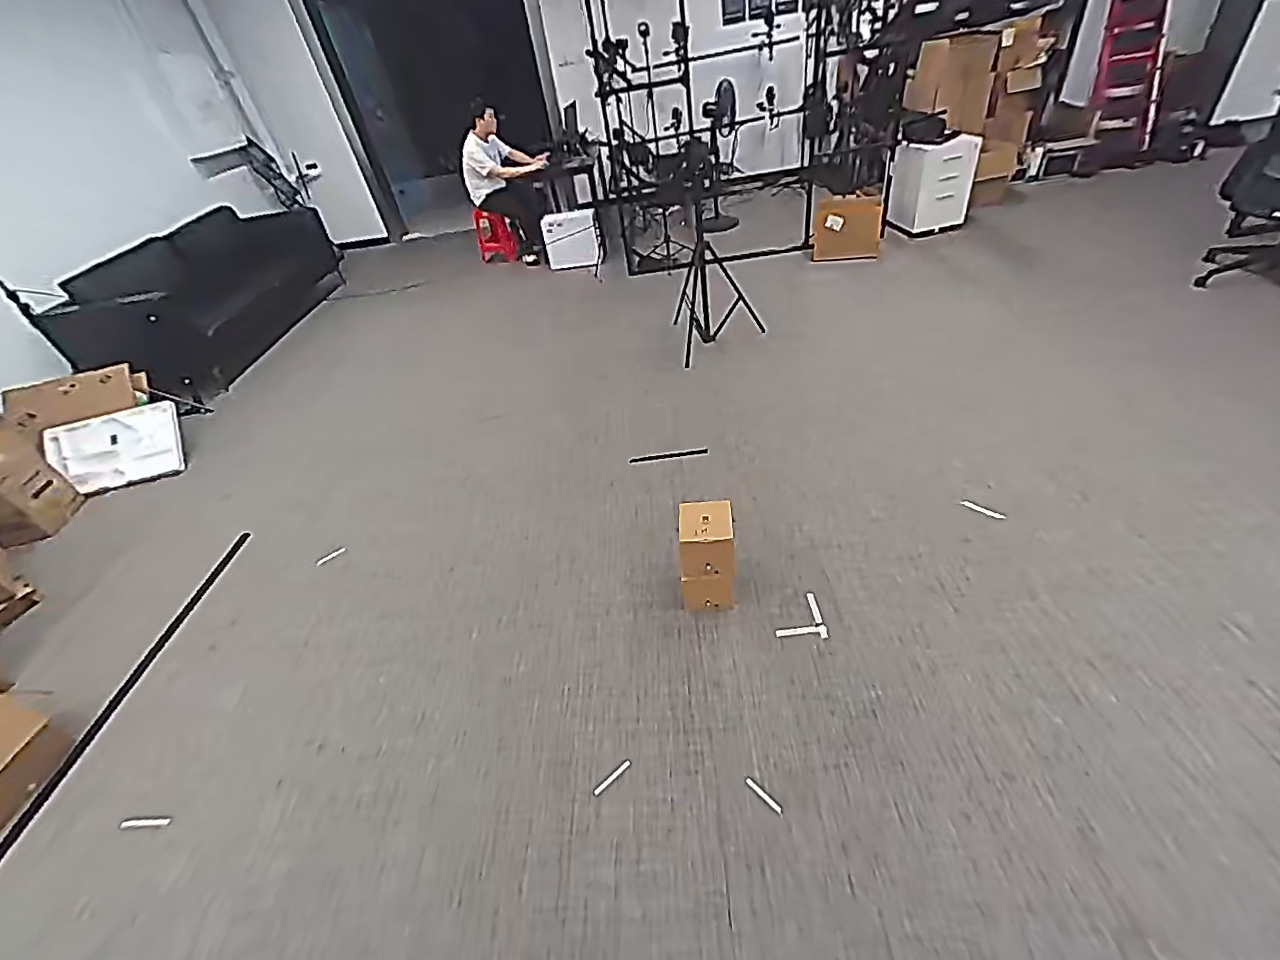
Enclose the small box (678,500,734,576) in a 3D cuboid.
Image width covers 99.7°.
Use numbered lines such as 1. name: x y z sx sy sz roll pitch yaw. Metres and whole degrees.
1. small box: 0.213 0.188 1.738 0.168 0.176 0.179 -5 40 9
